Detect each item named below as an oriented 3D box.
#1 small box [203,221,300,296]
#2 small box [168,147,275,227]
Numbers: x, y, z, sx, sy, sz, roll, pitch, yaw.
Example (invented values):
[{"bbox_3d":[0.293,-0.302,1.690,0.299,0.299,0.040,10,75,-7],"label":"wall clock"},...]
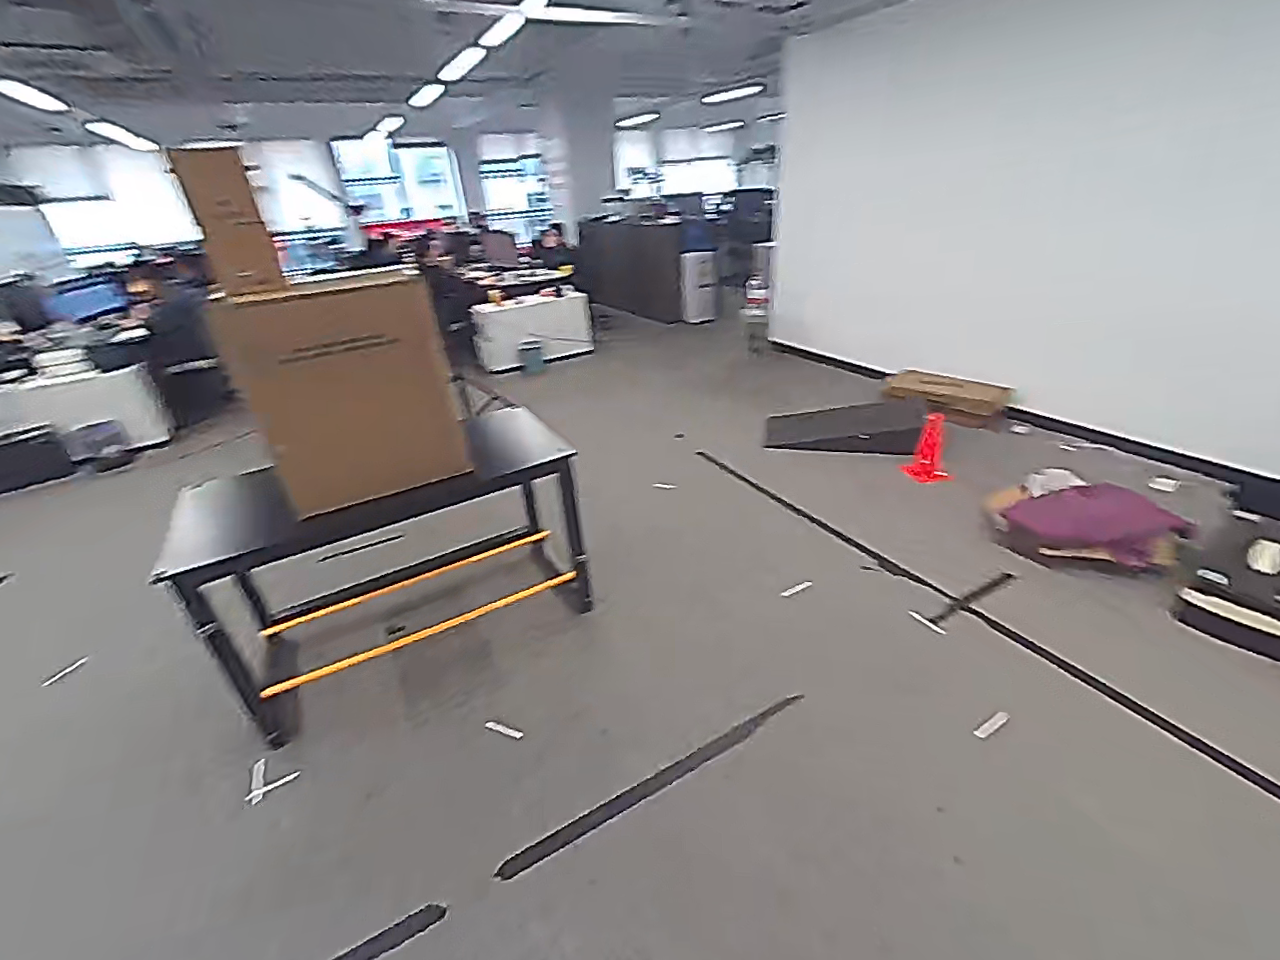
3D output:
[{"bbox_3d":[-1.050,-0.603,1.467,0.168,0.176,0.179,-22,35,-28],"label":"small box"},{"bbox_3d":[-1.060,-0.746,1.384,0.168,0.176,0.179,-20,33,-26],"label":"small box"}]
